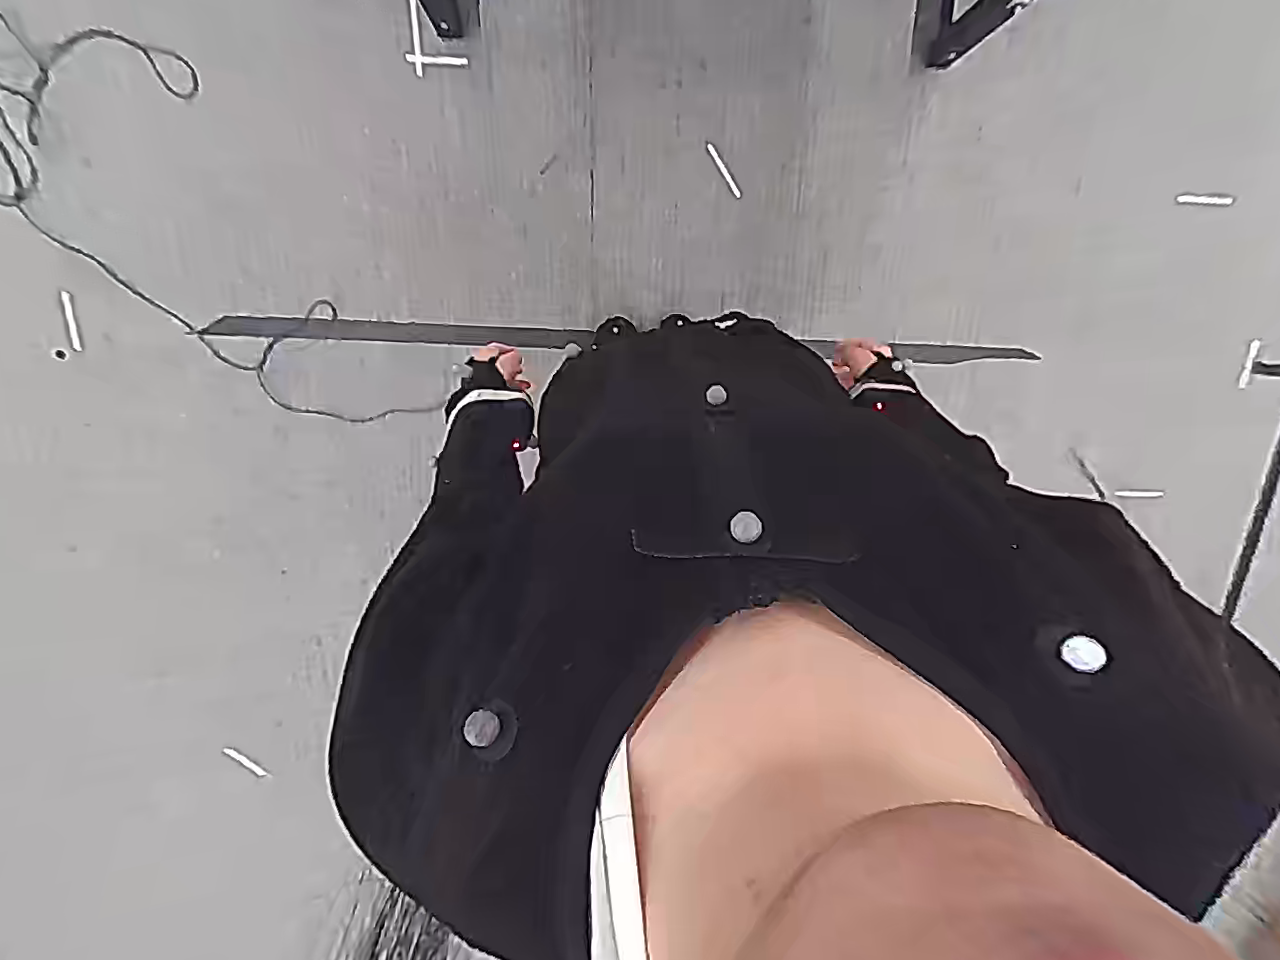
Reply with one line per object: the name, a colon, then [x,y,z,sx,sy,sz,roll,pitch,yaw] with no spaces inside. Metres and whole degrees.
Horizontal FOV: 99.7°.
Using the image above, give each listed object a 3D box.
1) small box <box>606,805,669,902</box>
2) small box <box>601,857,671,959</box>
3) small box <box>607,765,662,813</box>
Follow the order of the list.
small box: [-0.009,1.074,1.548,0.168,0.176,0.179,-5,106,-2]
small box: [-0.010,1.116,1.388,0.168,0.176,0.179,-5,105,-2]
small box: [-0.019,1.027,1.705,0.168,0.176,0.179,-3,105,-2]
